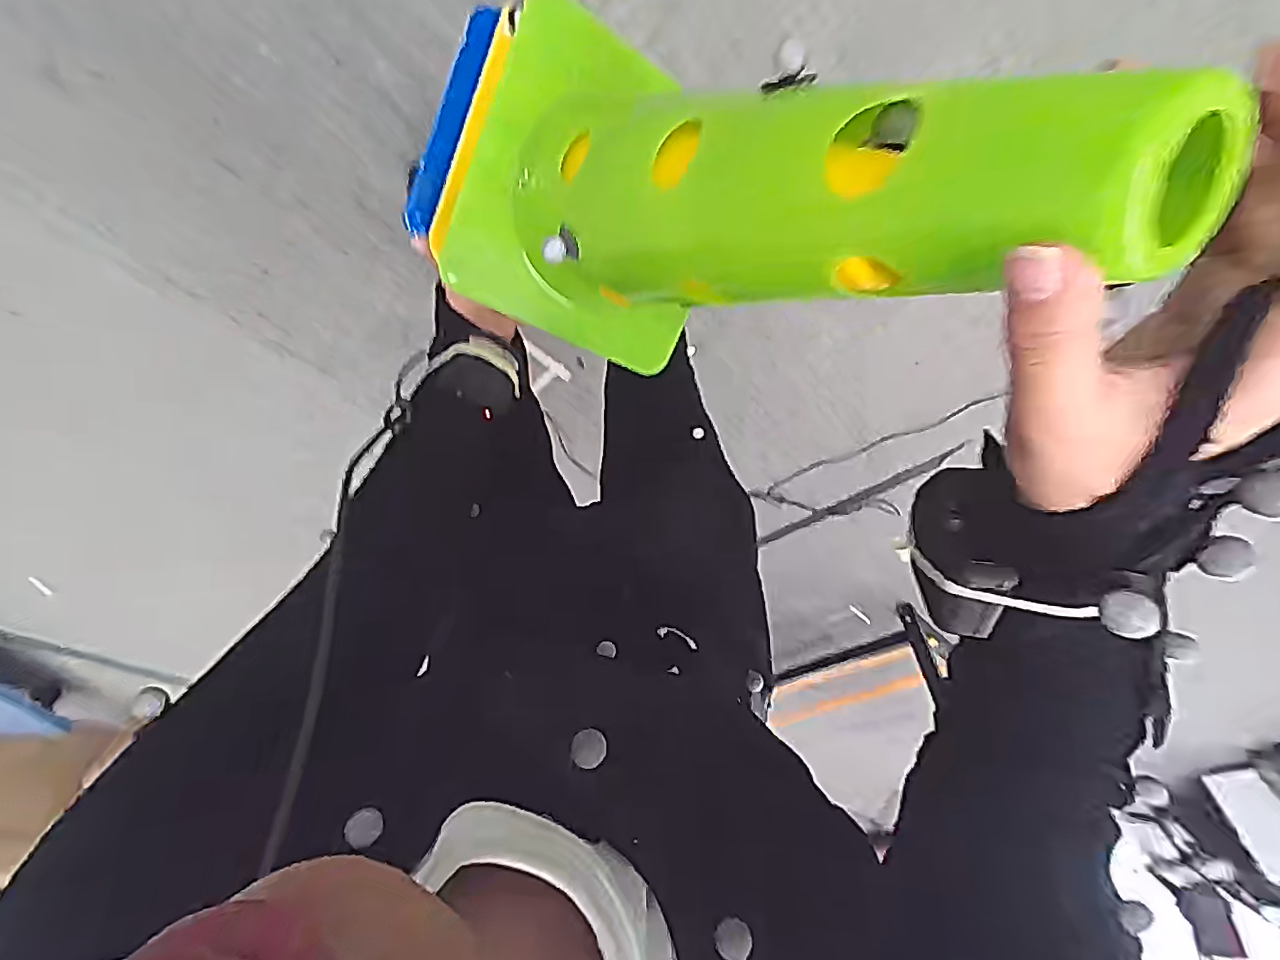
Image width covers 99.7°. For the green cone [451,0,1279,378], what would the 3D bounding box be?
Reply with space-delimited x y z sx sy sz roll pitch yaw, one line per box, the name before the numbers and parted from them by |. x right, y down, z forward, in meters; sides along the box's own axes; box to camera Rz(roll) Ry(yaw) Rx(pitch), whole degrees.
green cone | 0.053 -0.123 0.250 0.200 0.368 0.202 17 106 -30
